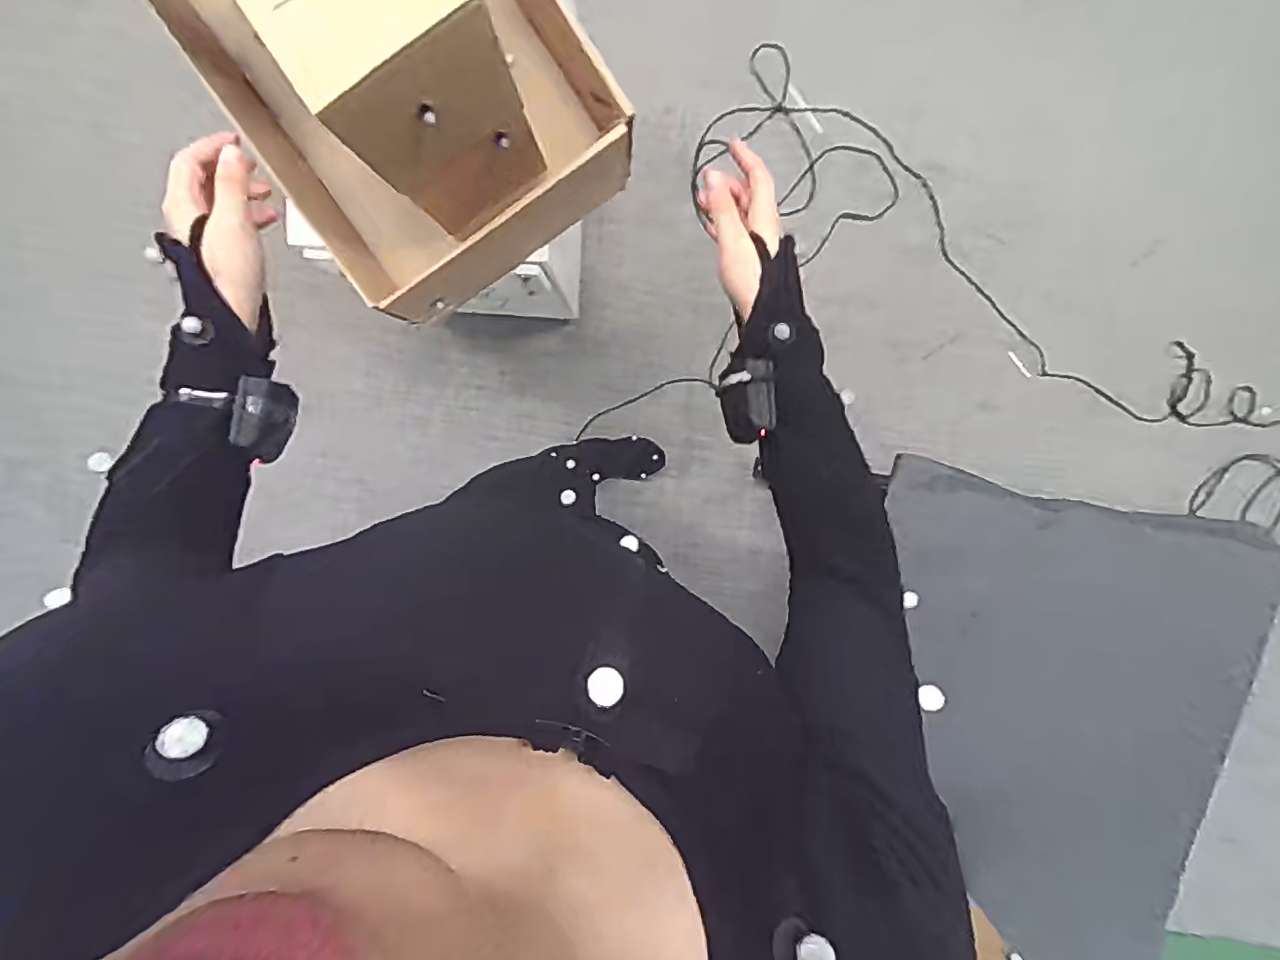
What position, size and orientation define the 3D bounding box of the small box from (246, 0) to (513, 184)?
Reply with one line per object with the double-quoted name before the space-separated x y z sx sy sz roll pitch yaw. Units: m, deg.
"small box" -0.243 -0.436 0.526 0.179 0.176 0.168 -32 95 5
